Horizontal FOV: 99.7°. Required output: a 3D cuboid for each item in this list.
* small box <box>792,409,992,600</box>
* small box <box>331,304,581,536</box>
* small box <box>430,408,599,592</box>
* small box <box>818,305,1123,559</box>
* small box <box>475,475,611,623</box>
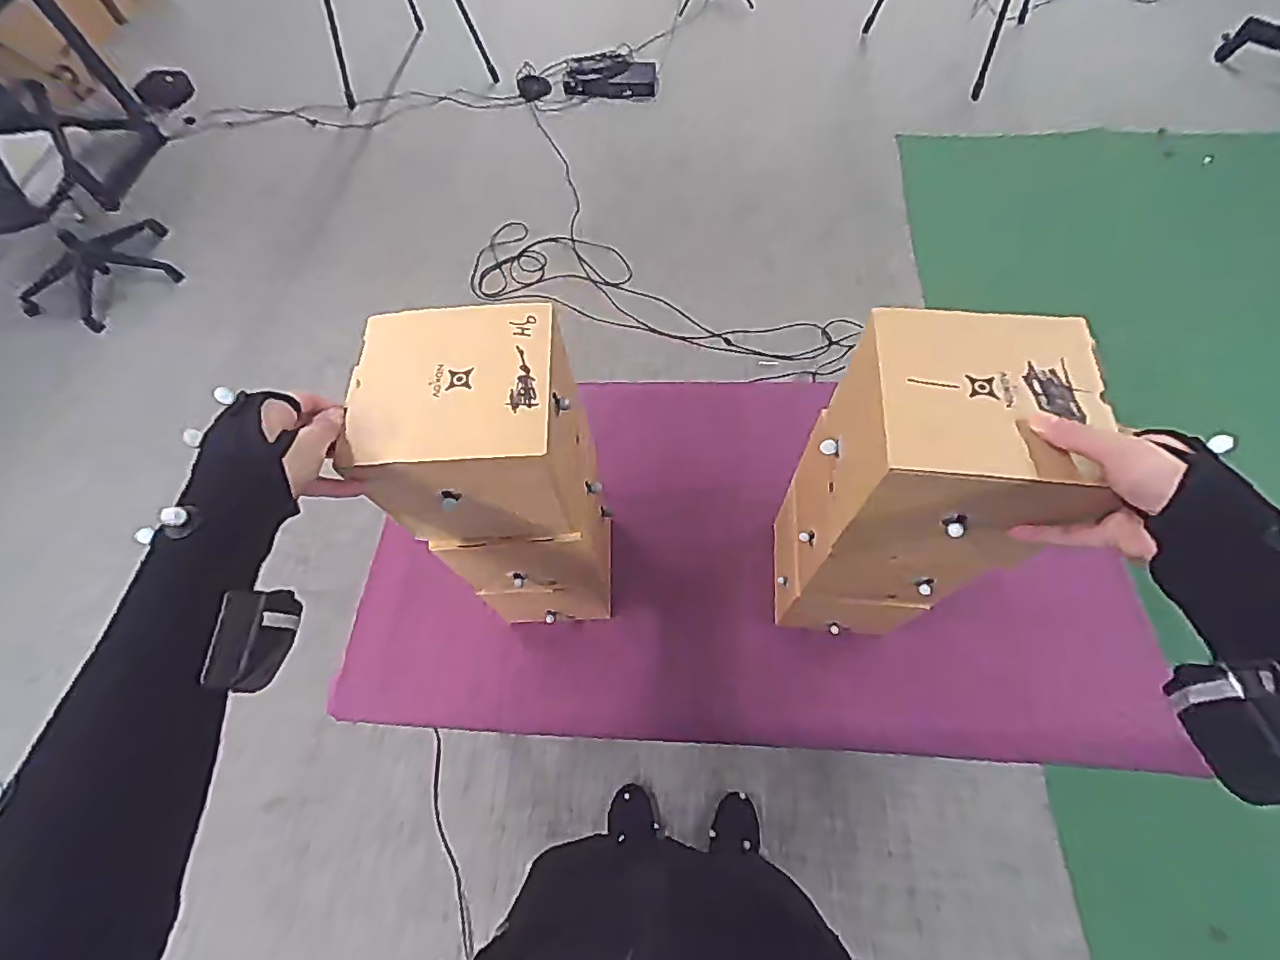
[{"bbox_3d":[0.281,0.035,0.645,0.168,0.176,0.179,3,61,6],"label":"small box"},{"bbox_3d":[-0.162,-0.049,0.542,0.179,0.176,0.168,-4,63,3],"label":"small box"},{"bbox_3d":[-0.144,0.030,0.685,0.168,0.176,0.179,-5,63,1],"label":"small box"},{"bbox_3d":[0.273,-0.035,0.497,0.179,0.176,0.168,5,62,7],"label":"small box"},{"bbox_3d":[-0.136,0.109,0.826,0.168,0.176,0.179,-3,62,3],"label":"small box"}]
